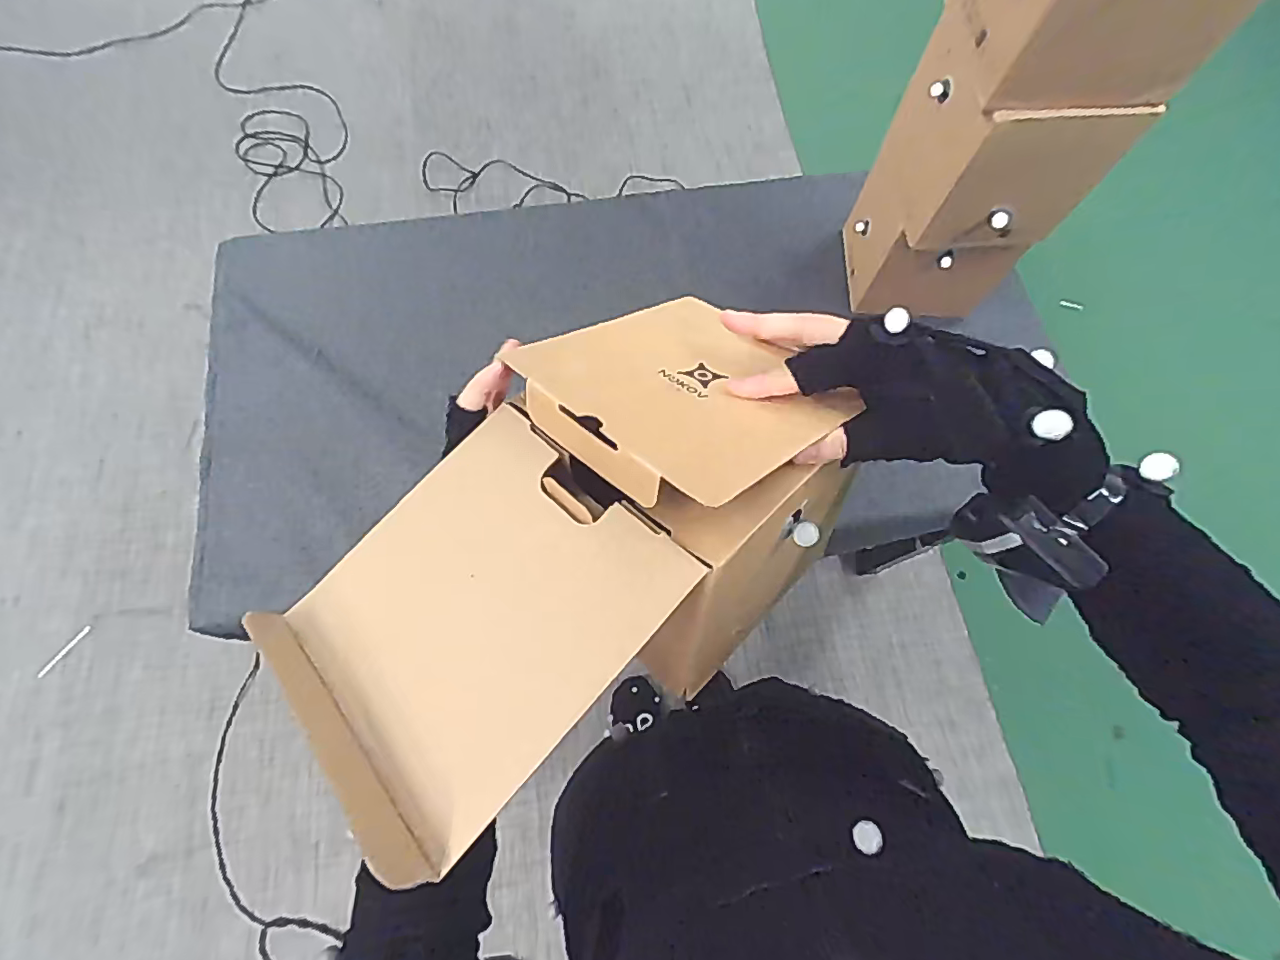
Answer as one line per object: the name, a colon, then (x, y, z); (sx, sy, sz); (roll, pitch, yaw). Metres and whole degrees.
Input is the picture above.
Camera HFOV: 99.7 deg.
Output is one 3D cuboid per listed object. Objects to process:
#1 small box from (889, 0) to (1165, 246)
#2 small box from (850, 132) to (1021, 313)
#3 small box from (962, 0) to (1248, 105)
small box: (0.403, -0.392, 0.604); (0.168, 0.176, 0.179); (-3, 71, -1)
small box: (0.410, -0.355, 0.764); (0.179, 0.176, 0.168); (3, 71, 1)
small box: (0.400, -0.449, 0.451); (0.179, 0.176, 0.168); (-1, 71, 0)
